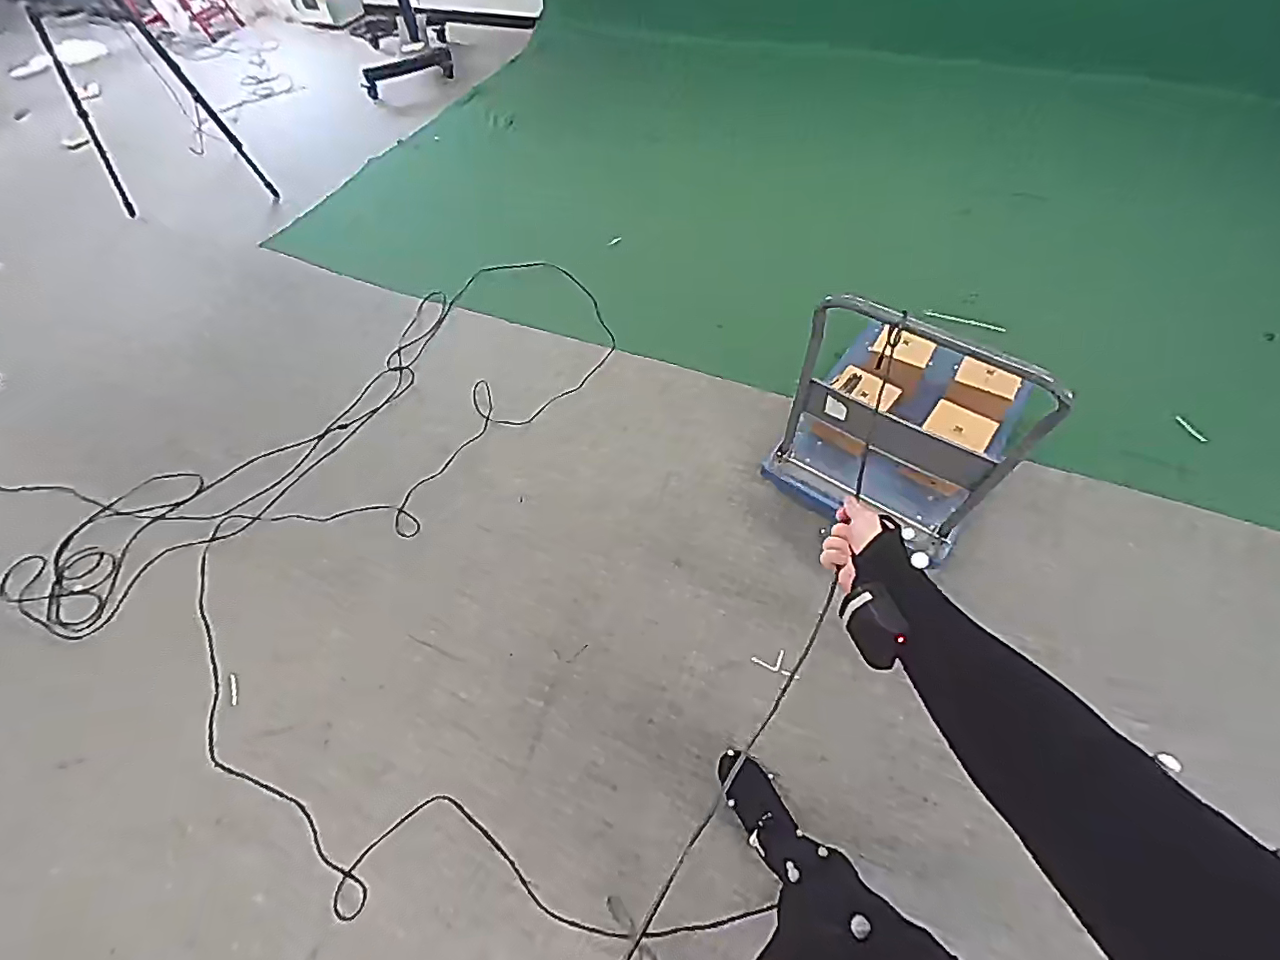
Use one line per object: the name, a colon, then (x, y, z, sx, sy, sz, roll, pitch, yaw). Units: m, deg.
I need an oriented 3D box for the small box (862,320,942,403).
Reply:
small box: (0.846, -0.382, 1.764, 0.168, 0.176, 0.179, 28, 63, 20)

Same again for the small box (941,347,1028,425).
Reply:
small box: (1.055, -0.274, 1.675, 0.168, 0.176, 0.179, 27, 64, 22)

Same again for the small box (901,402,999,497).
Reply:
small box: (0.891, -0.087, 1.569, 0.168, 0.176, 0.179, 32, 65, 23)
